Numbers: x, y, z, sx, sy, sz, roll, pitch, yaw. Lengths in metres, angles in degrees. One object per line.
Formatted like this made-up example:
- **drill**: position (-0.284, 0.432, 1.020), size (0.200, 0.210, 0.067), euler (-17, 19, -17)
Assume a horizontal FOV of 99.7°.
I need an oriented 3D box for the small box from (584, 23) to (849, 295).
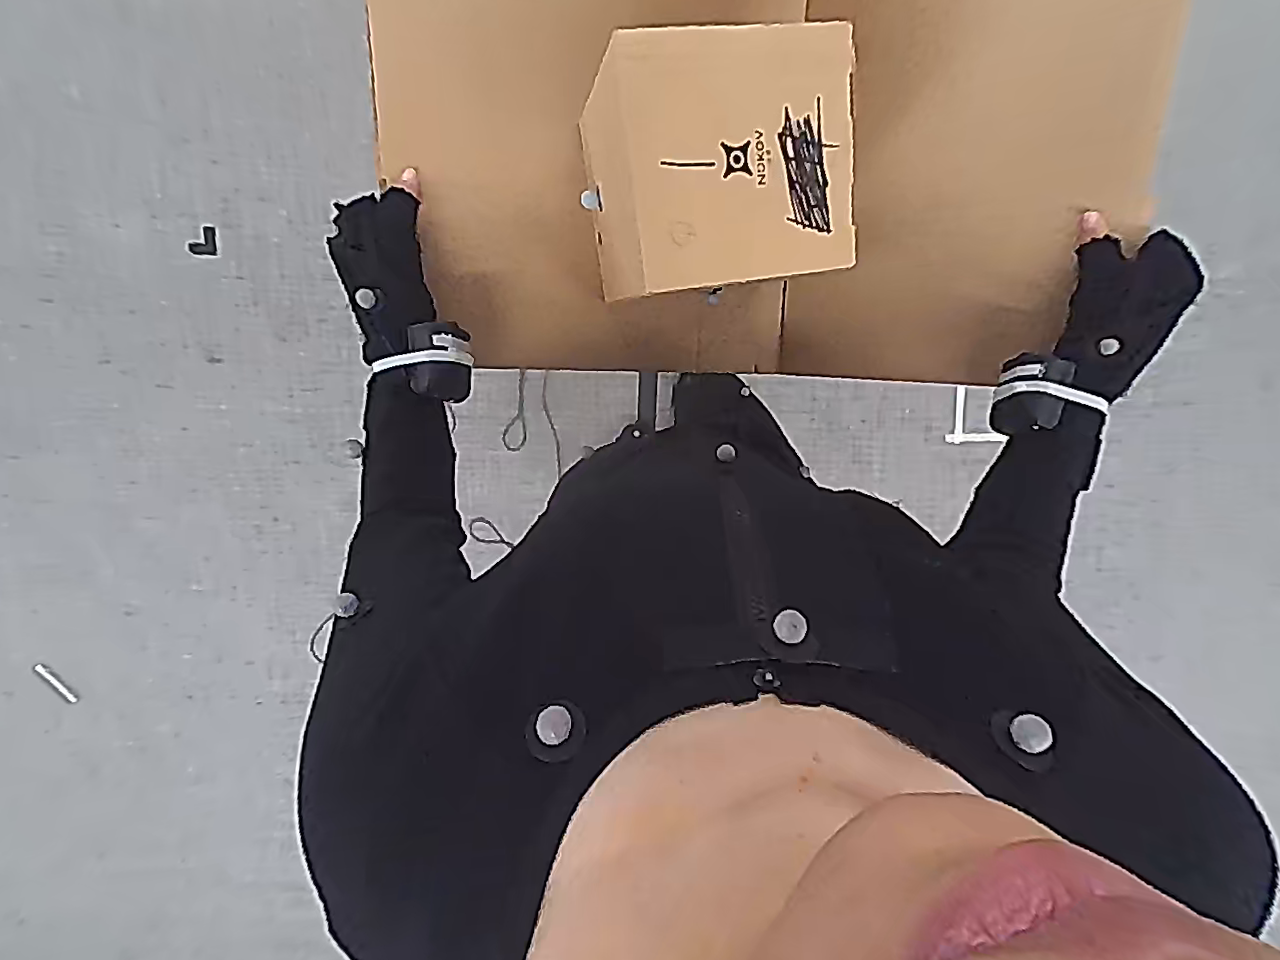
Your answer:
- **small box**: position (0.058, -0.261, 0.474), size (0.179, 0.176, 0.168), euler (-11, 107, -11)
